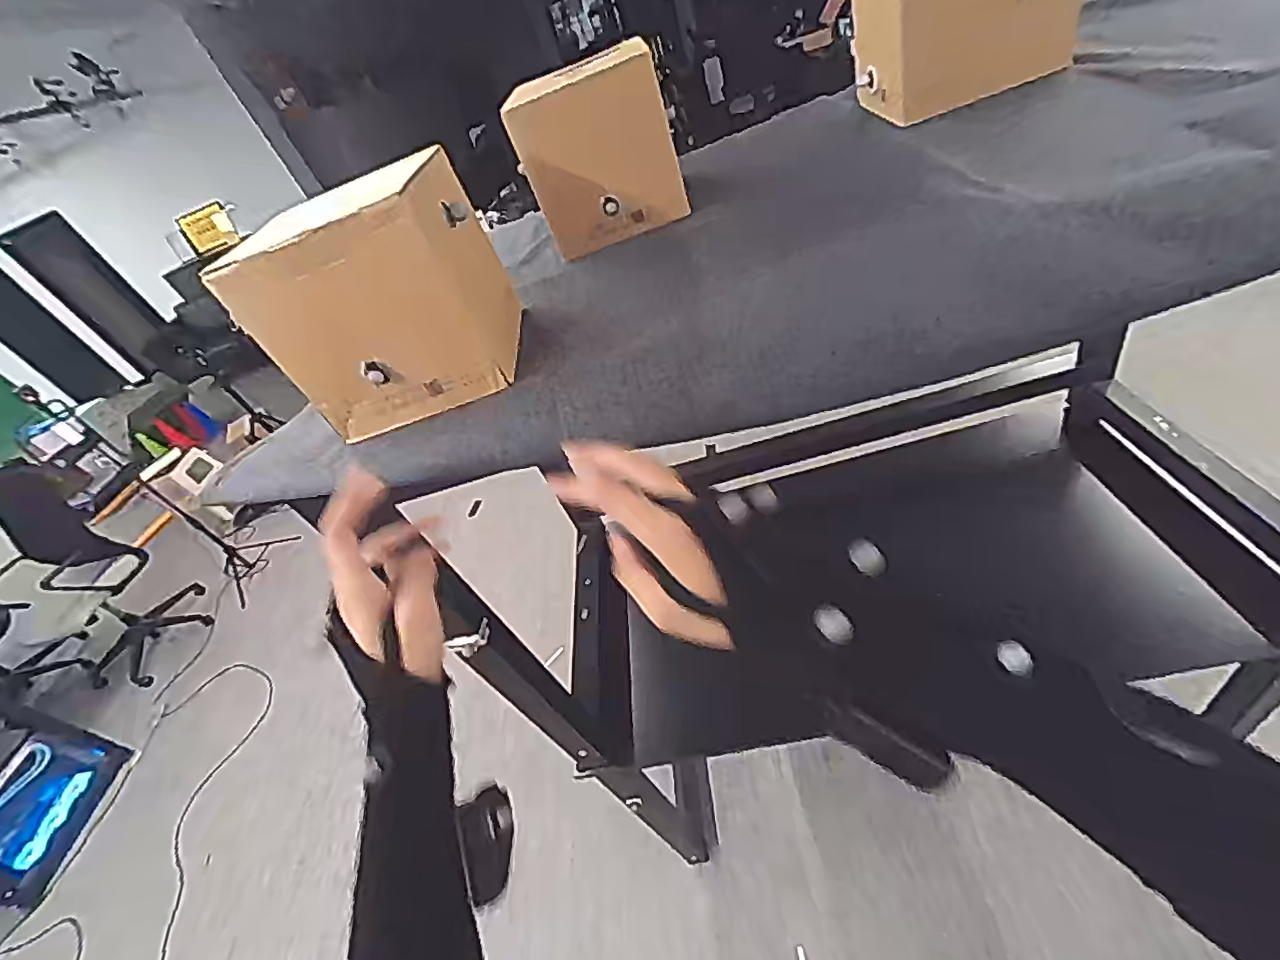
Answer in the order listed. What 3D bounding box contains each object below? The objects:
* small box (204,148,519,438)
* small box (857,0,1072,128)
[{"bbox_3d":[-0.222,-0.168,0.493,0.168,0.176,0.179,-18,41,7],"label":"small box"},{"bbox_3d":[0.350,-0.527,0.601,0.179,0.176,0.168,-14,40,12],"label":"small box"}]
